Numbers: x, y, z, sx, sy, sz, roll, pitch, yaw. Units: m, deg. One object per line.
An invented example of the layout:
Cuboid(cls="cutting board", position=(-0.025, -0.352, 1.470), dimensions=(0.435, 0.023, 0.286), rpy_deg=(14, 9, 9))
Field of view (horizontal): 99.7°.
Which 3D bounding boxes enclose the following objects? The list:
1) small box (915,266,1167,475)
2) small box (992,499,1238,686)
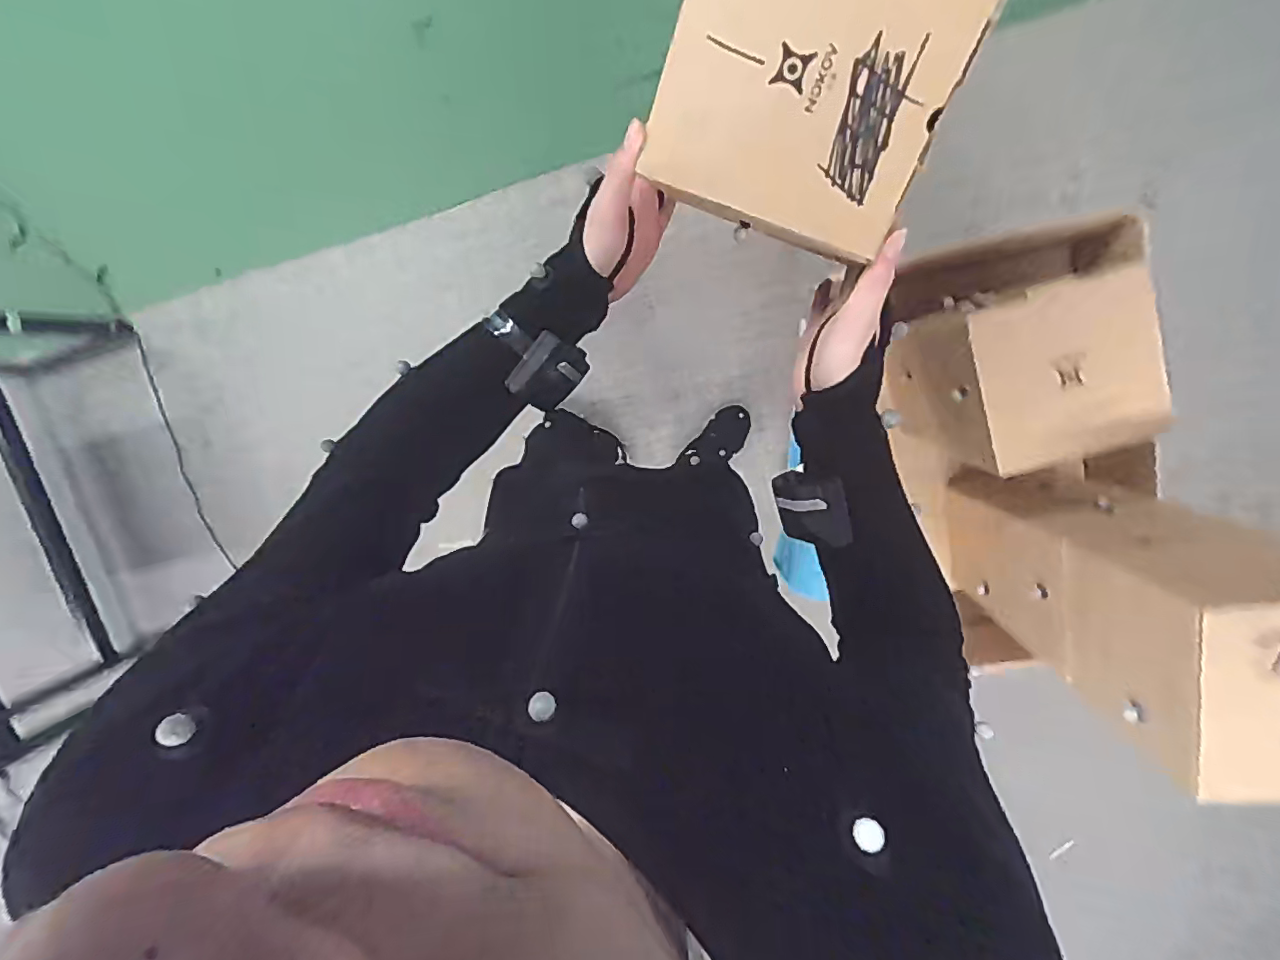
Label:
Cuboid(cls="small box", position=(0.442, -0.121, 0.625), dimensions=(0.168, 0.176, 0.179), rpy_deg=(-15, 100, 12))
Cuboid(cls="small box", position=(0.556, 0.125, 0.660), dimensions=(0.168, 0.176, 0.179), rpy_deg=(-6, 101, 11))
